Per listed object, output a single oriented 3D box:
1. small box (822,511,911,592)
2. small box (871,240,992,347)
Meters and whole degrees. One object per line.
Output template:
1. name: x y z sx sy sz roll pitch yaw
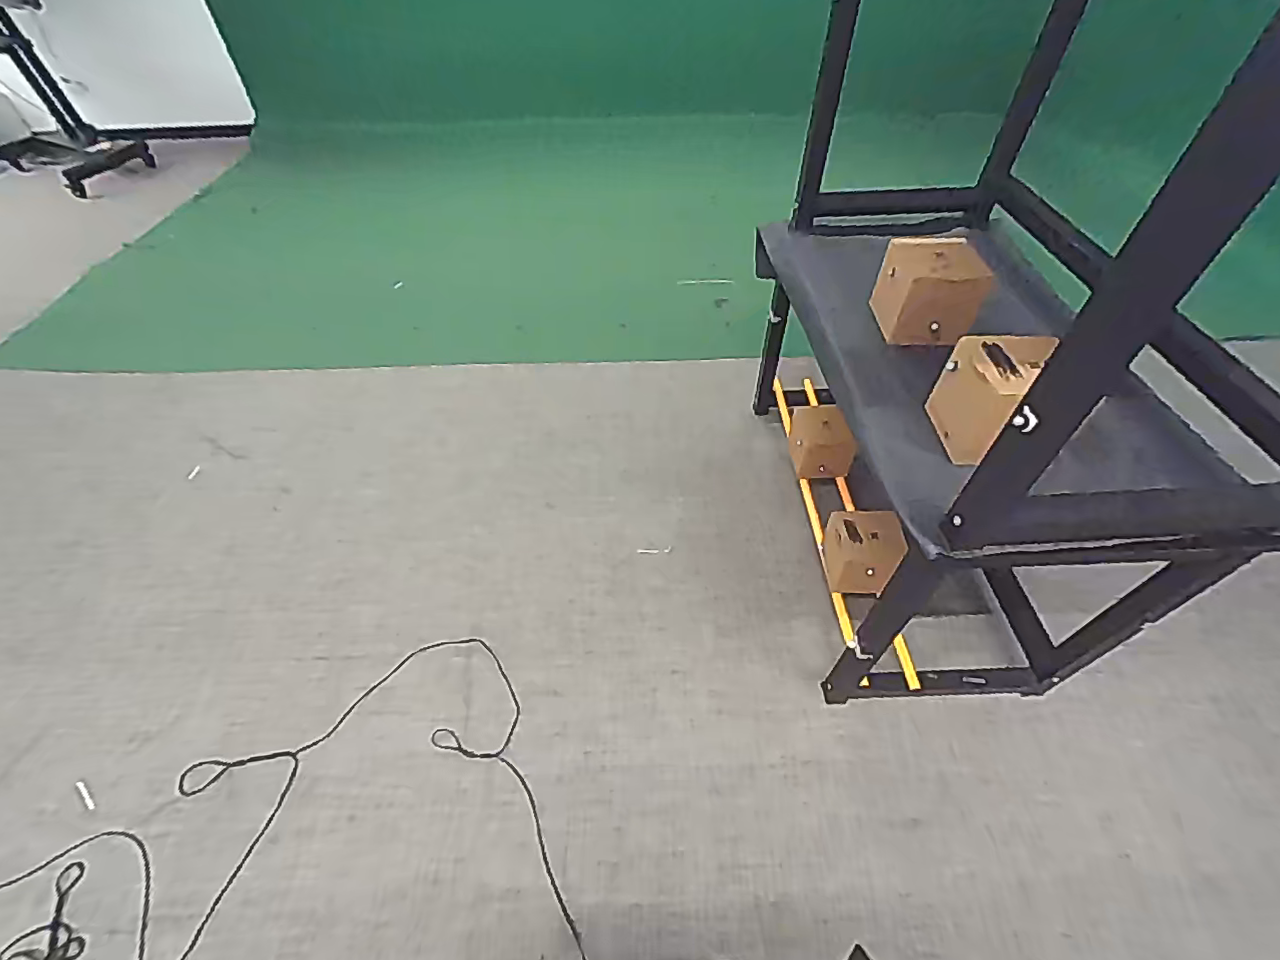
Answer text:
1. small box: 0.619 0.202 1.508 0.179 0.176 0.168 0 49 2
2. small box: 0.646 -0.424 1.227 0.168 0.176 0.179 0 49 2
